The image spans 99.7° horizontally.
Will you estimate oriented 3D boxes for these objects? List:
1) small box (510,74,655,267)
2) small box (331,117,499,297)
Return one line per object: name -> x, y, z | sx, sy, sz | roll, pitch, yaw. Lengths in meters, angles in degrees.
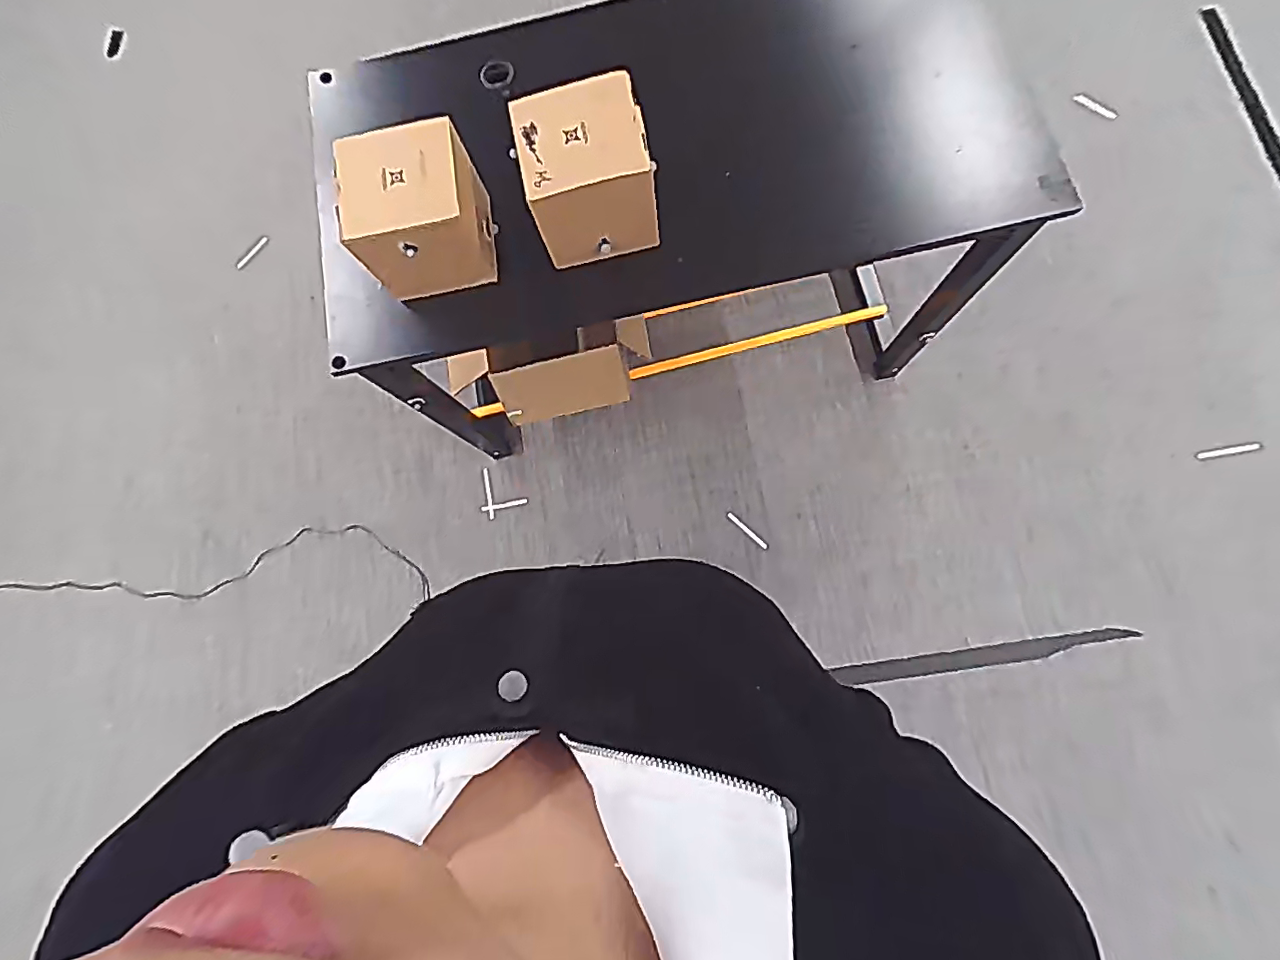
small box -> -0.076, -0.452, 0.813 | 0.179, 0.176, 0.168 | -13, 78, 2
small box -> -0.335, -0.403, 0.827 | 0.179, 0.176, 0.168 | -11, 80, 2
